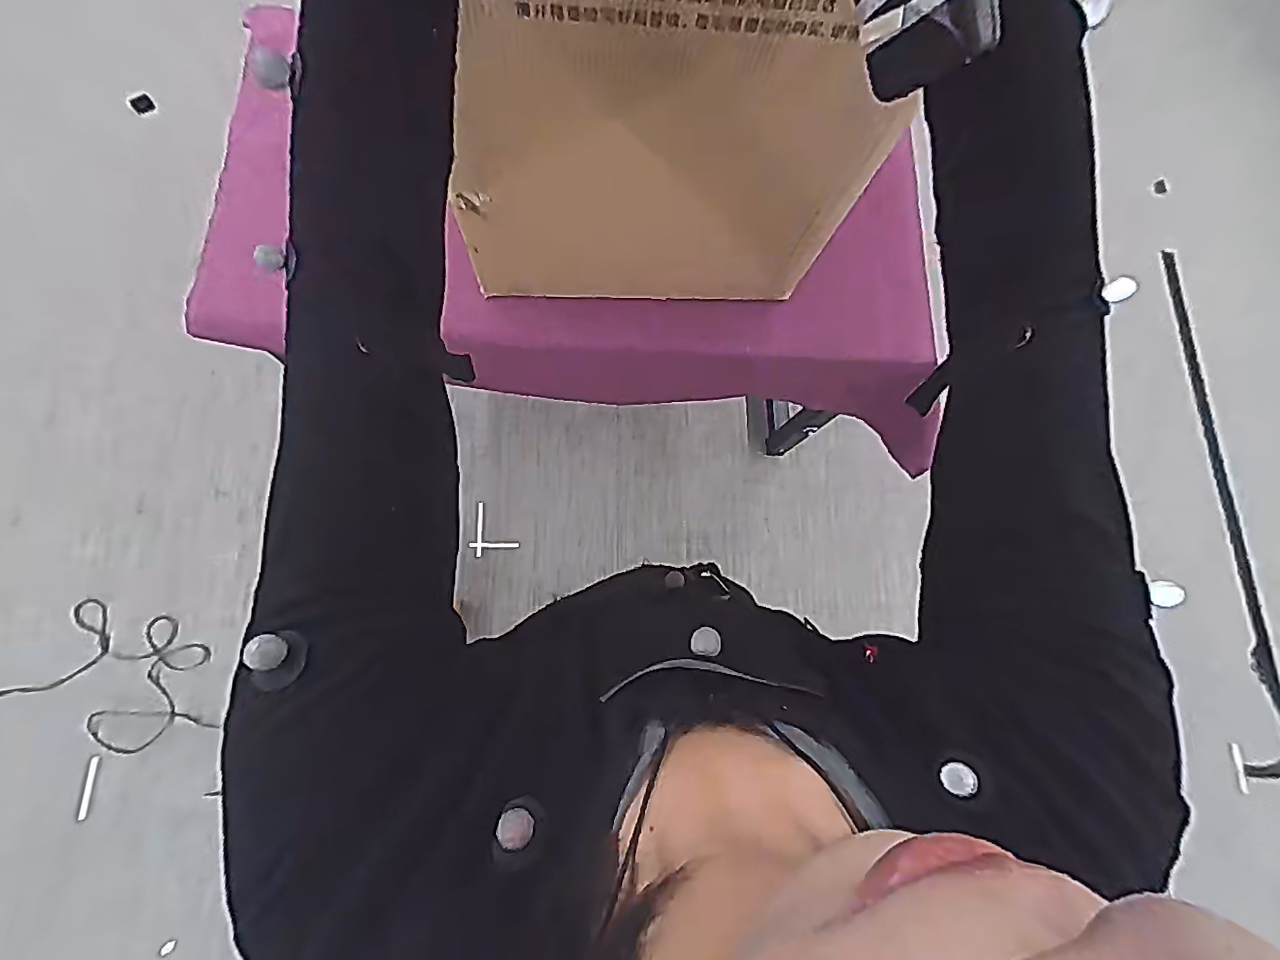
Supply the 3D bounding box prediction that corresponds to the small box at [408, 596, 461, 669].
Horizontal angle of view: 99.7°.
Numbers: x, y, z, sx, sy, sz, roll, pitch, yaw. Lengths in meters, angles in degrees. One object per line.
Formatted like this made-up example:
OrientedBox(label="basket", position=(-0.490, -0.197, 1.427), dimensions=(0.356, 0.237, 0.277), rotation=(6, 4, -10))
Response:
OrientedBox(label="small box", position=(-0.564, 0.378, 1.359), dimensions=(0.179, 0.176, 0.168), rotation=(3, 77, -6))
